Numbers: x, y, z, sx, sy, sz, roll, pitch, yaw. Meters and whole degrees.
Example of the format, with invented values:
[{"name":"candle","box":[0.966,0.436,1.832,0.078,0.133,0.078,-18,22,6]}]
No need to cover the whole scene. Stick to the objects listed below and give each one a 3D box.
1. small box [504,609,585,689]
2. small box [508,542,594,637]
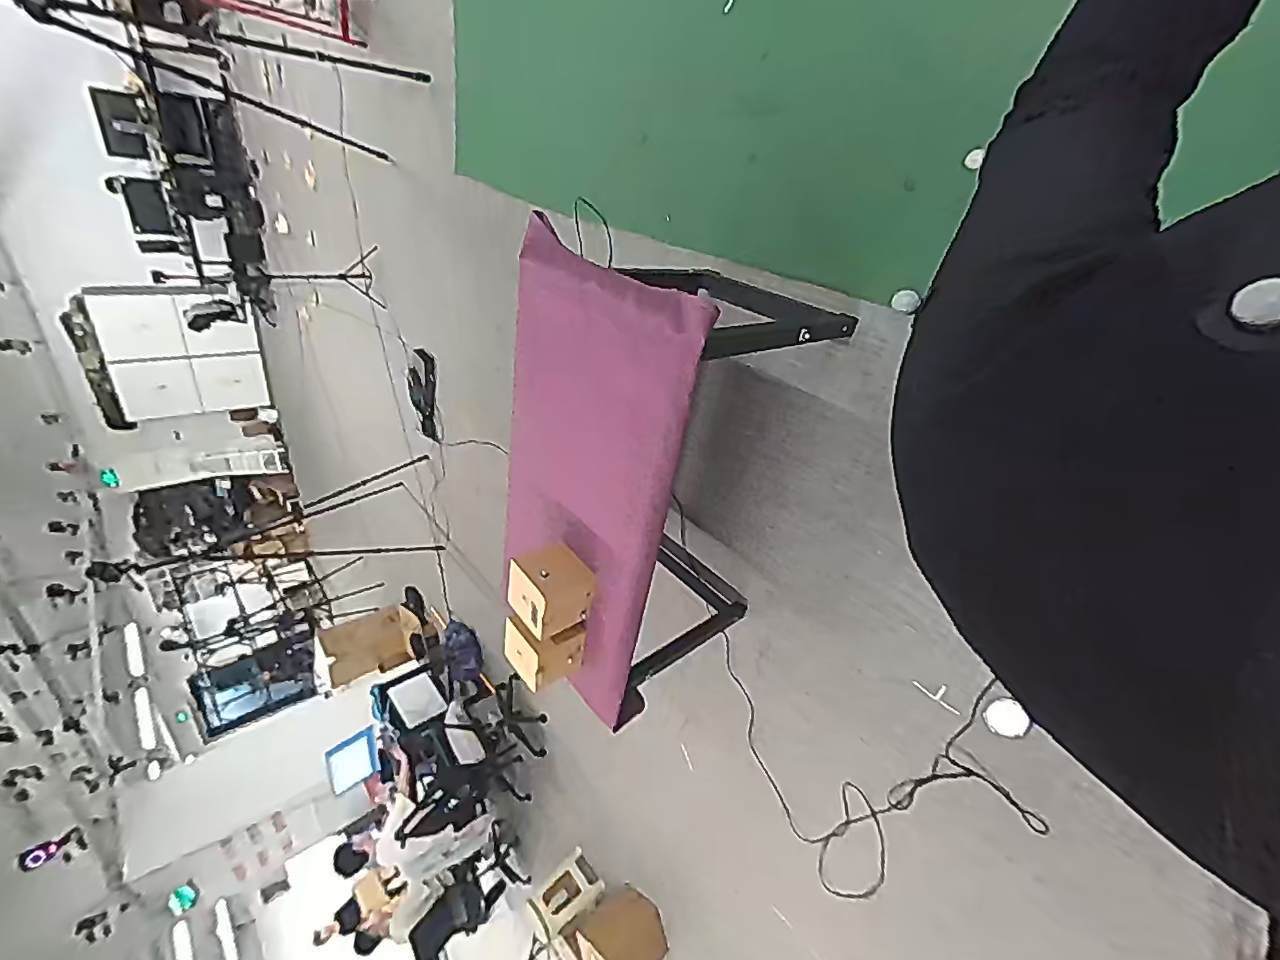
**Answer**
[{"name":"small box","box":[-0.289,0.481,1.623,0.179,0.176,0.168,37,129,35]},{"name":"small box","box":[-0.248,0.297,1.509,0.179,0.176,0.168,39,130,35]}]
